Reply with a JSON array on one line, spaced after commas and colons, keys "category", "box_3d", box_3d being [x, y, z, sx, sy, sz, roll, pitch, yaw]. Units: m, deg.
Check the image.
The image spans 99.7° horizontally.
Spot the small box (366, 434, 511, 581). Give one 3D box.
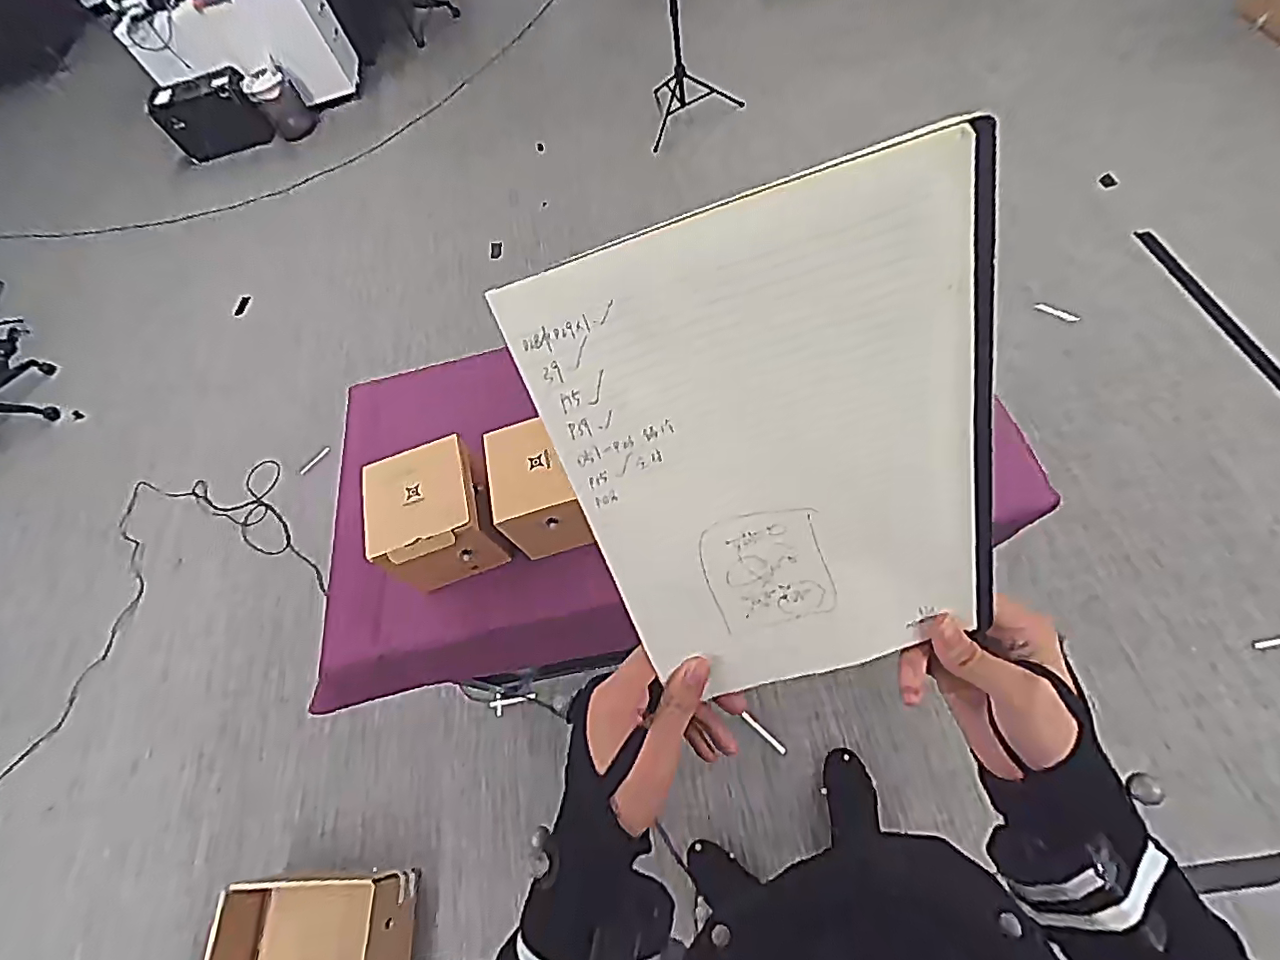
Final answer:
[{"category": "small box", "box_3d": [-0.333, 0.057, 0.913, 0.168, 0.176, 0.179, -20, 61, 0]}]
